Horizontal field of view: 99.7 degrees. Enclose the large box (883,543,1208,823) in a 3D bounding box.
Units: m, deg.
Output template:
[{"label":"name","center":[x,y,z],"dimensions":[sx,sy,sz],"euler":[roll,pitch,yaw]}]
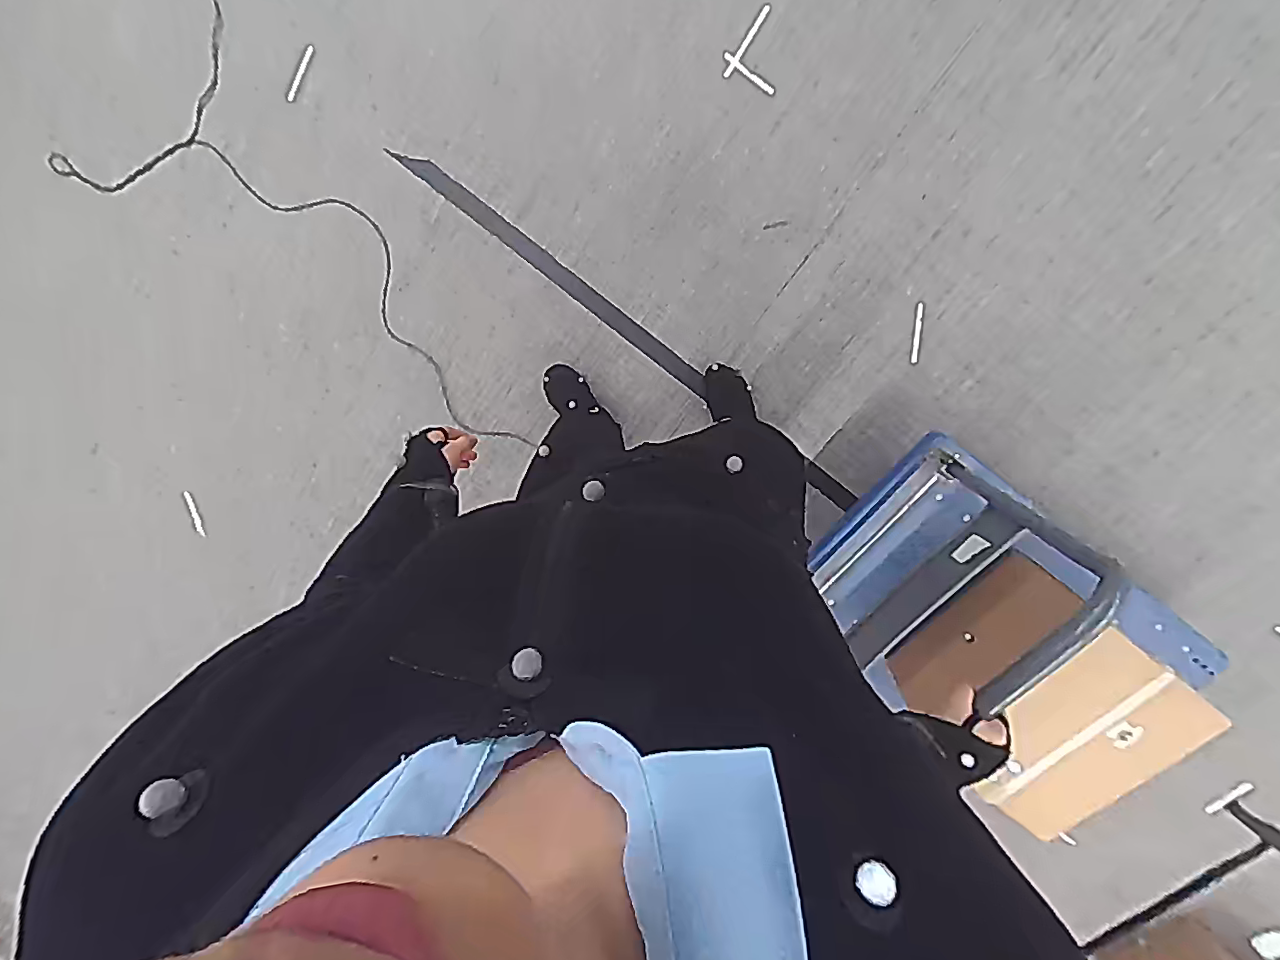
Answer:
[{"label":"large box","center":[0.818,0.418,1.171],"dimensions":[0.320,0.320,0.408],"euler":[38,107,-3]}]
